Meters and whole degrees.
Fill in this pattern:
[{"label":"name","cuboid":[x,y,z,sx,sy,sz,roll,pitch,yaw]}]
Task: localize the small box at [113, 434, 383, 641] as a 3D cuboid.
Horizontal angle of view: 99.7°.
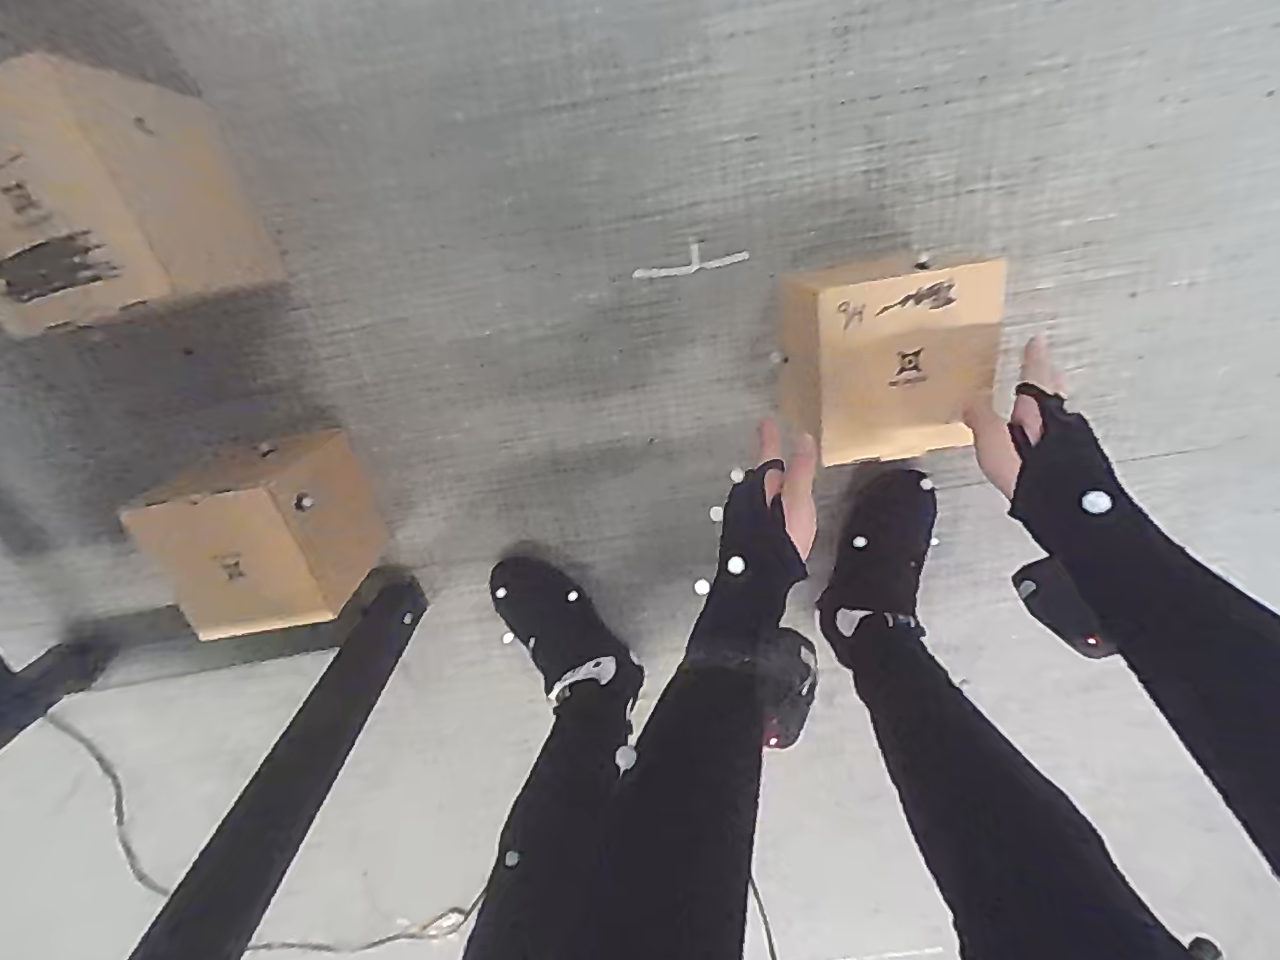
[{"label":"small box","cuboid":[-0.445,0.063,0.654,0.168,0.176,0.179,-10,113,4]}]
